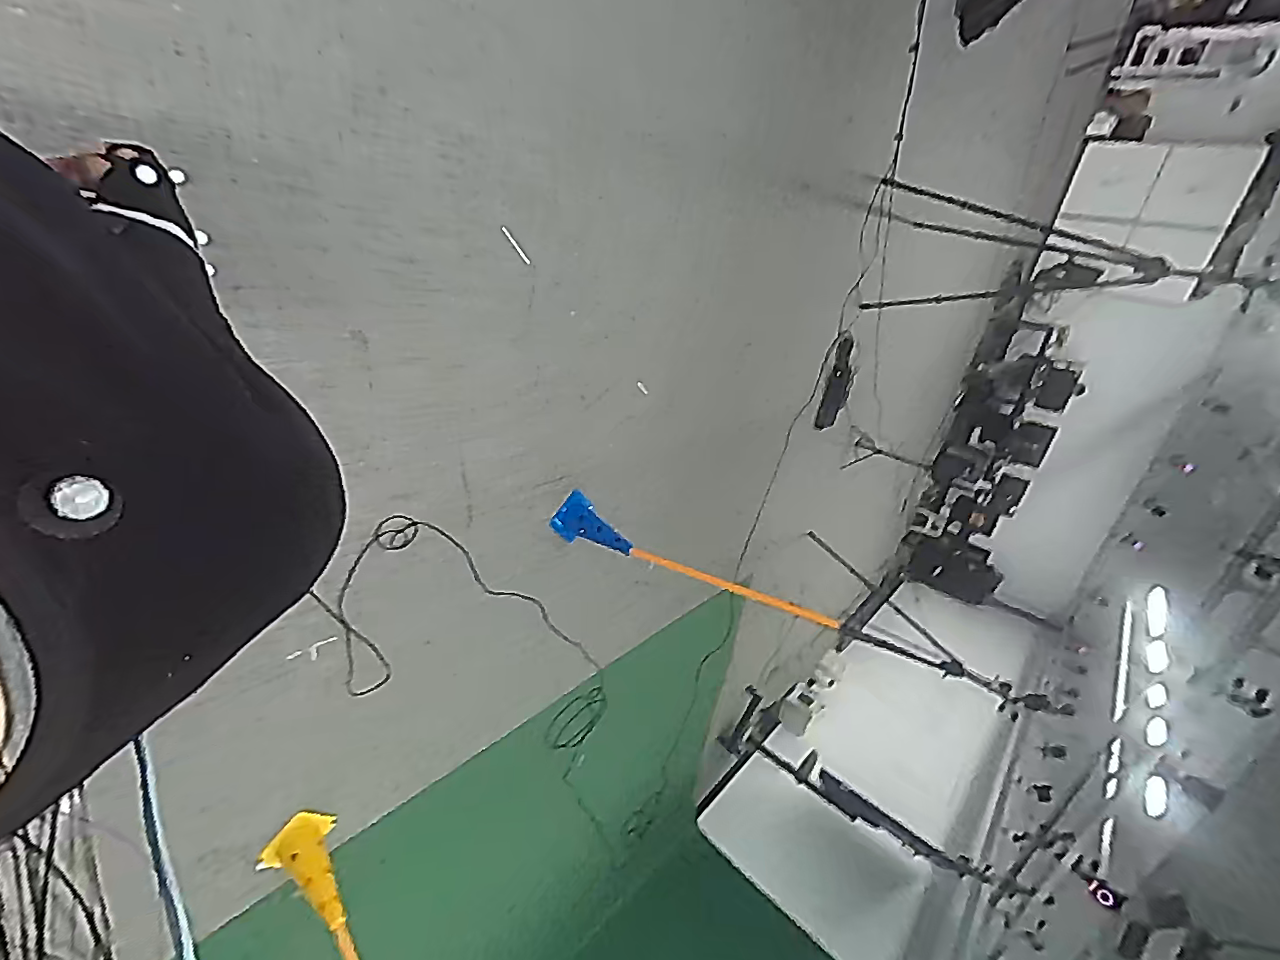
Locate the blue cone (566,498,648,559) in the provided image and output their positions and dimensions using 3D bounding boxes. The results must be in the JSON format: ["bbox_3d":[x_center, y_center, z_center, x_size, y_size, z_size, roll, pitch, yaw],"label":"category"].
[{"bbox_3d":[-0.117,0.238,2.279,0.193,0.380,0.192,-56,143,-12],"label":"blue cone"}]
